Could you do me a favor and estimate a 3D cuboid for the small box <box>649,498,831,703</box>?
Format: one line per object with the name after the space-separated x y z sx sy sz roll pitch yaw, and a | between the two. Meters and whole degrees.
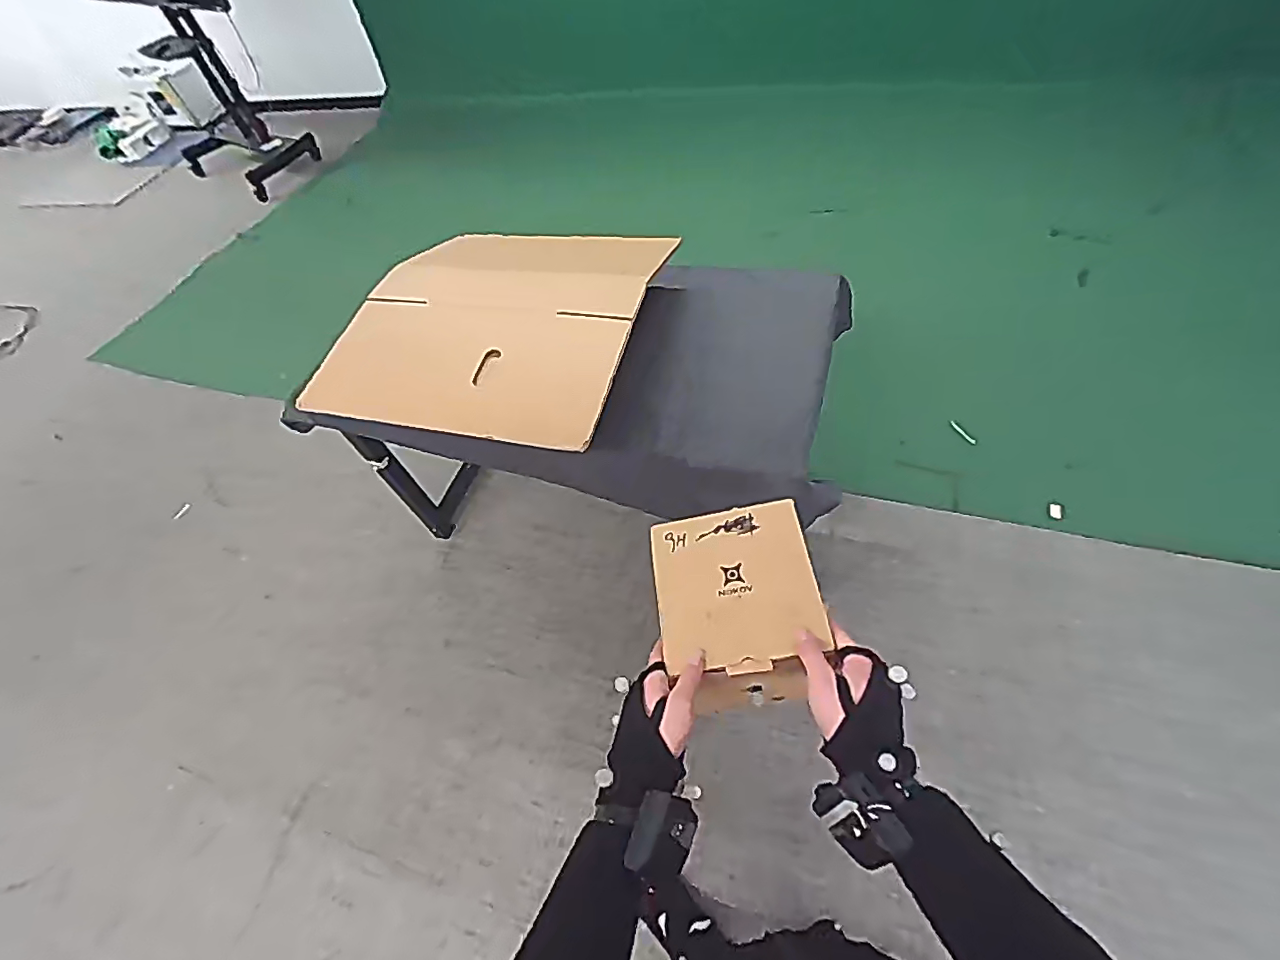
0.118 0.151 0.637 0.168 0.176 0.179 -14 53 8 | small box
